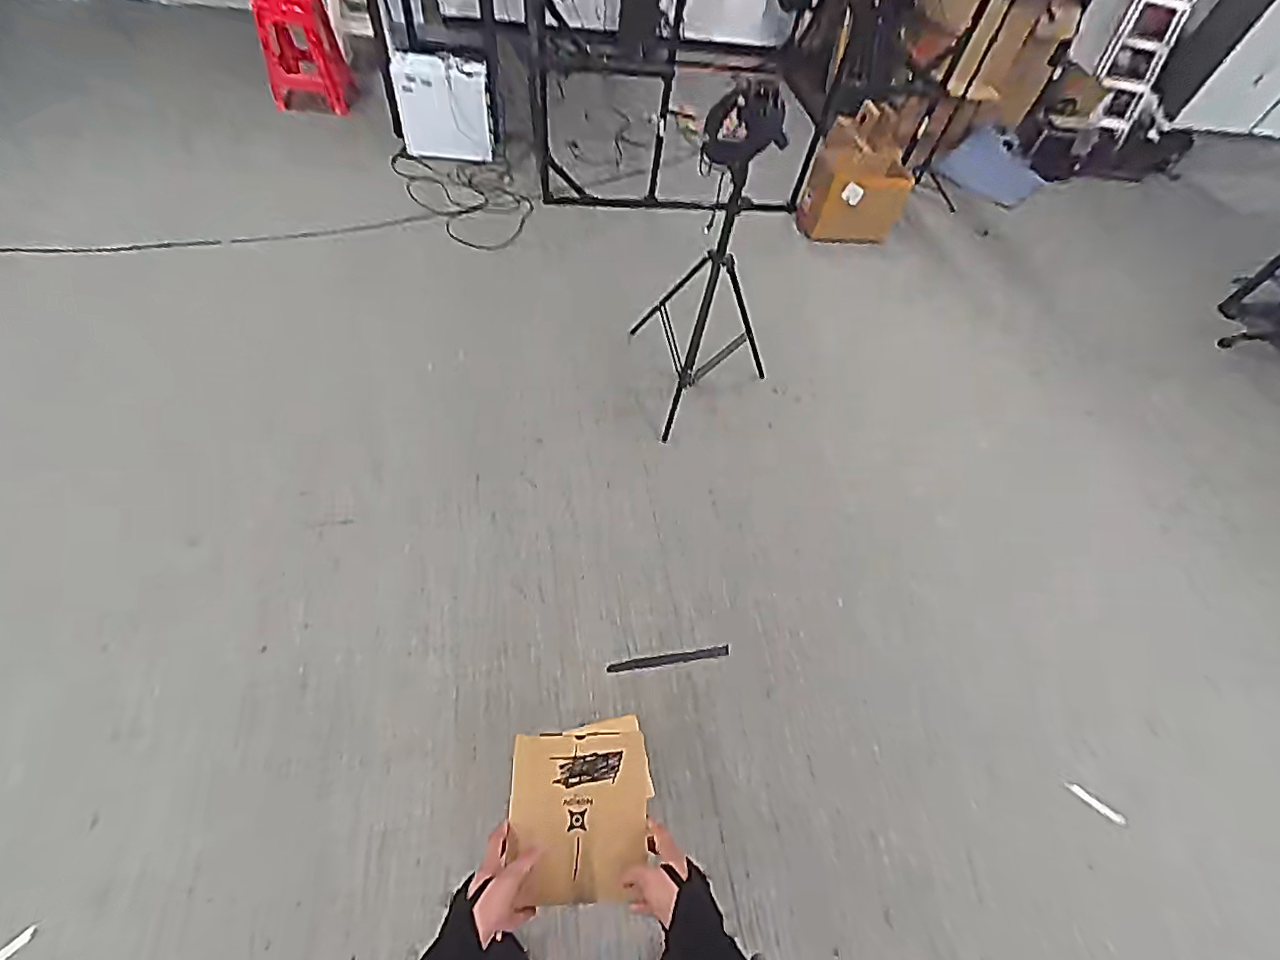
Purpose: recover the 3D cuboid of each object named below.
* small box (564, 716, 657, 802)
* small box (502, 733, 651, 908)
[{"bbox_3d":[-0.074,0.641,1.191,0.179,0.176,0.168,-8,57,-13],"label":"small box"},{"bbox_3d":[-0.078,0.442,0.703,0.168,0.176,0.179,1,54,-5],"label":"small box"}]
